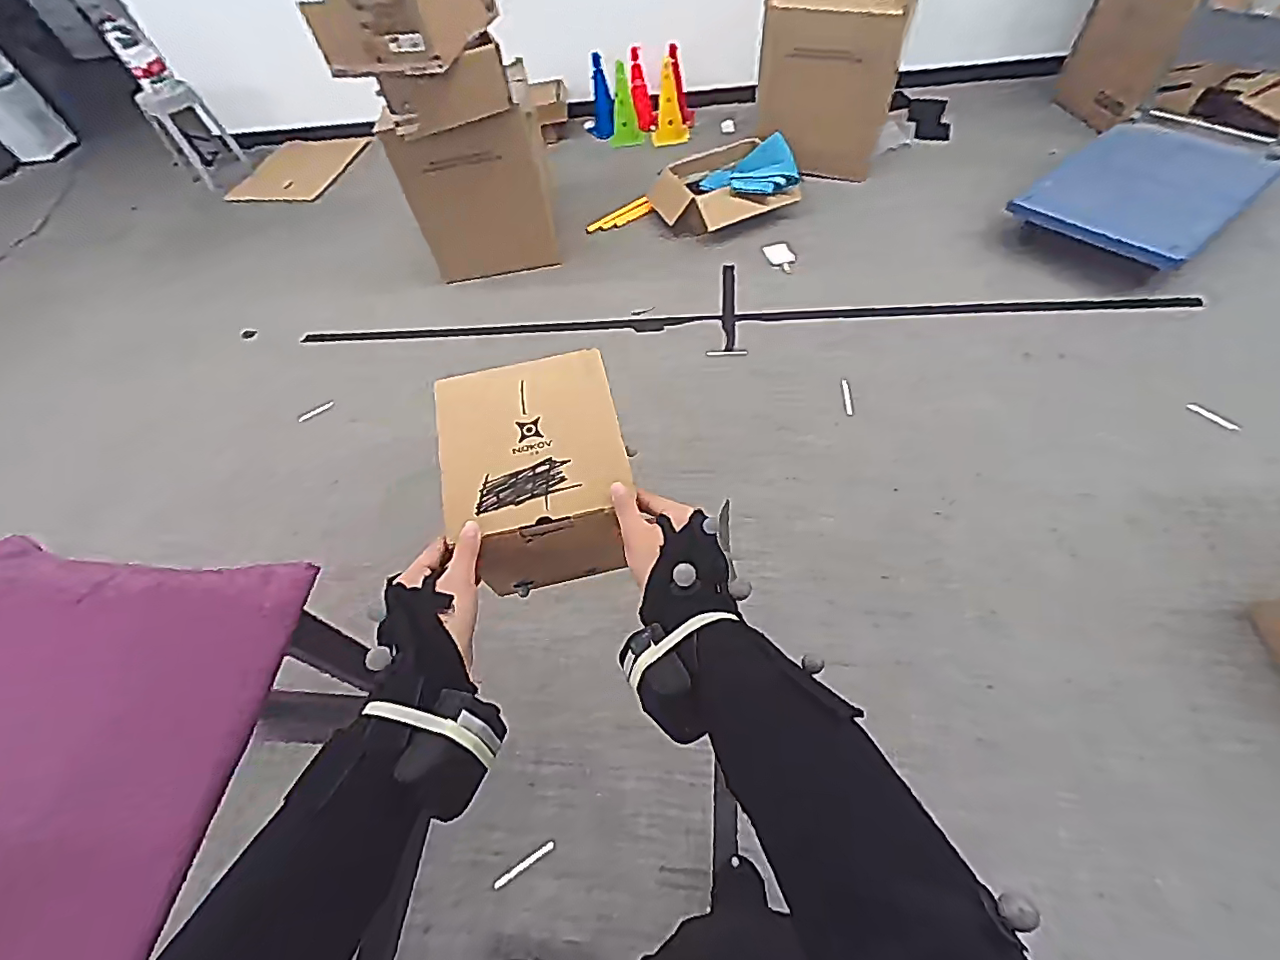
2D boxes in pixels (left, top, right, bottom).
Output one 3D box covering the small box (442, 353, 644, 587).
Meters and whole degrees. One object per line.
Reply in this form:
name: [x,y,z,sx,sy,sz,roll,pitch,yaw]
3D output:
small box: [-0.093,0.001,0.566,0.168,0.176,0.179,-13,62,-5]
